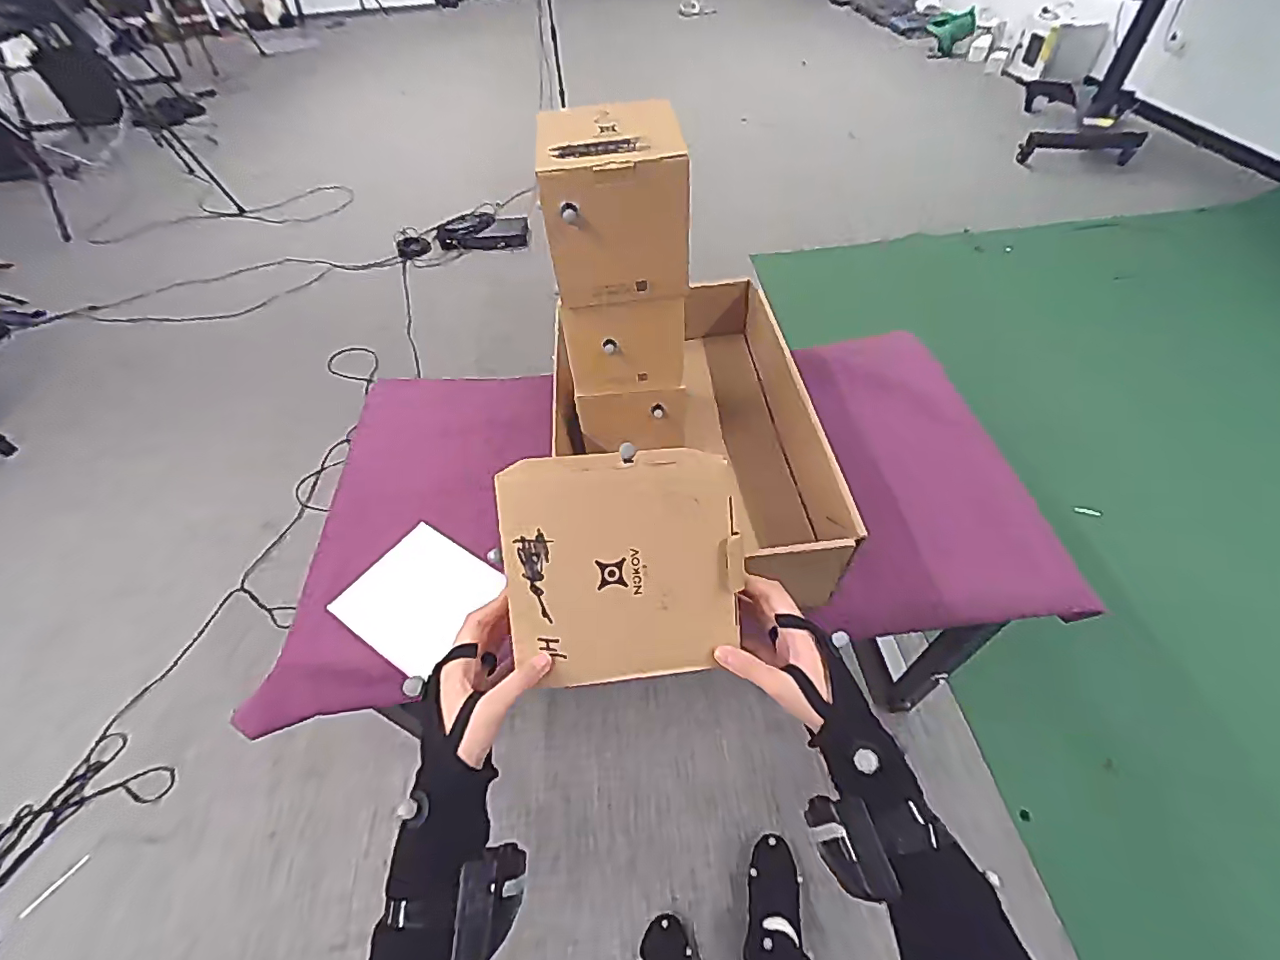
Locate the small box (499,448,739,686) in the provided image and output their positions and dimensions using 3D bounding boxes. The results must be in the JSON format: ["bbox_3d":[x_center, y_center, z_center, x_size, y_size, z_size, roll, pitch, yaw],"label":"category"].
[{"bbox_3d":[-0.022,0.060,0.483,0.179,0.168,0.176,-4,5,-7],"label":"small box"}]

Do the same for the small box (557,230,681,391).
[{"bbox_3d":[-0.027,-0.249,0.820,0.168,0.176,0.179,-5,52,0],"label":"small box"}]
